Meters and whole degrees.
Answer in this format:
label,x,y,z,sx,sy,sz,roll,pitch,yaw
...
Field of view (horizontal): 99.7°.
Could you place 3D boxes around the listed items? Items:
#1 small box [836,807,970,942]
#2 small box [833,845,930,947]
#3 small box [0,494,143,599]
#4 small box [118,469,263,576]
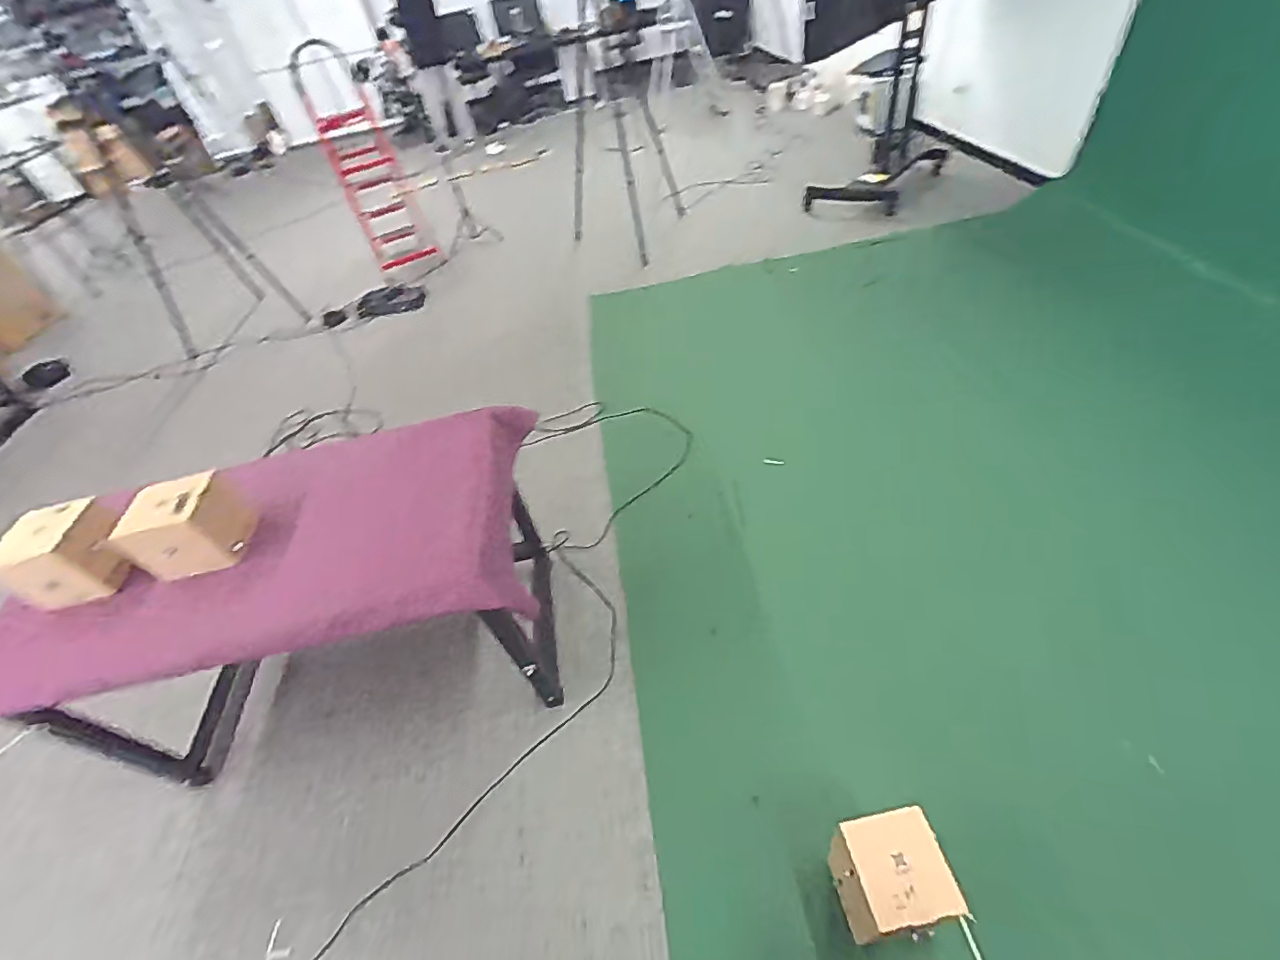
label,x,y,z,sx,sy,sz,roll,pitch,yaw
small box,0.503,0.779,1.066,0.168,0.176,0.179,-13,45,0
small box,0.534,0.893,1.180,0.179,0.176,0.168,-12,45,0
small box,-1.333,0.166,1.285,0.168,0.176,0.179,-13,46,-1
small box,-1.048,0.103,1.283,0.179,0.176,0.168,-14,45,1
